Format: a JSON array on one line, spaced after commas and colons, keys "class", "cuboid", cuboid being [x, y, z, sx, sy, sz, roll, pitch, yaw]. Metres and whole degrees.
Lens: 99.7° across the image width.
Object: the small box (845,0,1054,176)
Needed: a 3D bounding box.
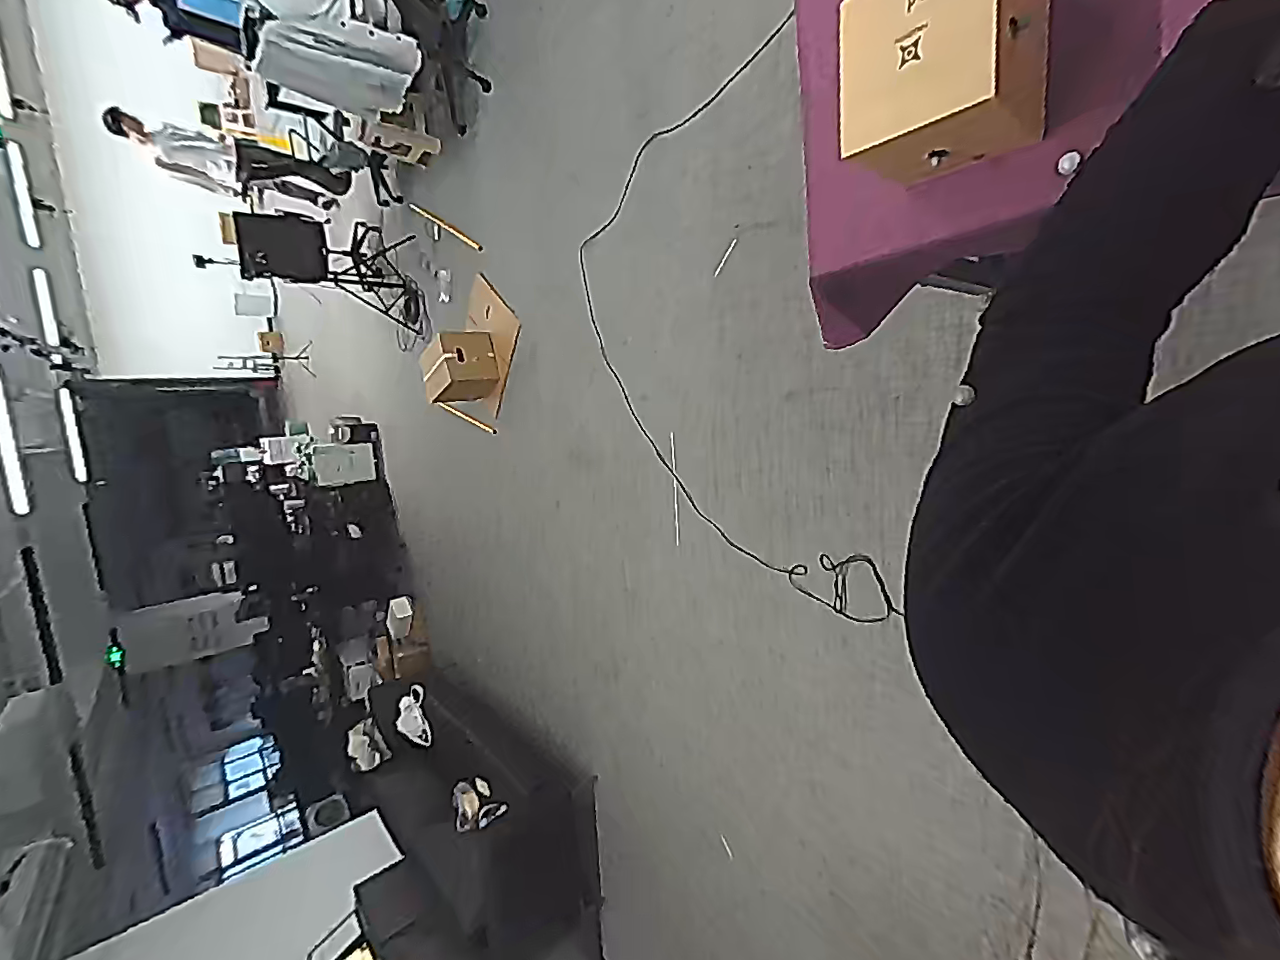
[{"class": "small box", "cuboid": [0.359, -0.479, 0.632, 0.168, 0.176, 0.179, 7, 103, 49]}]
